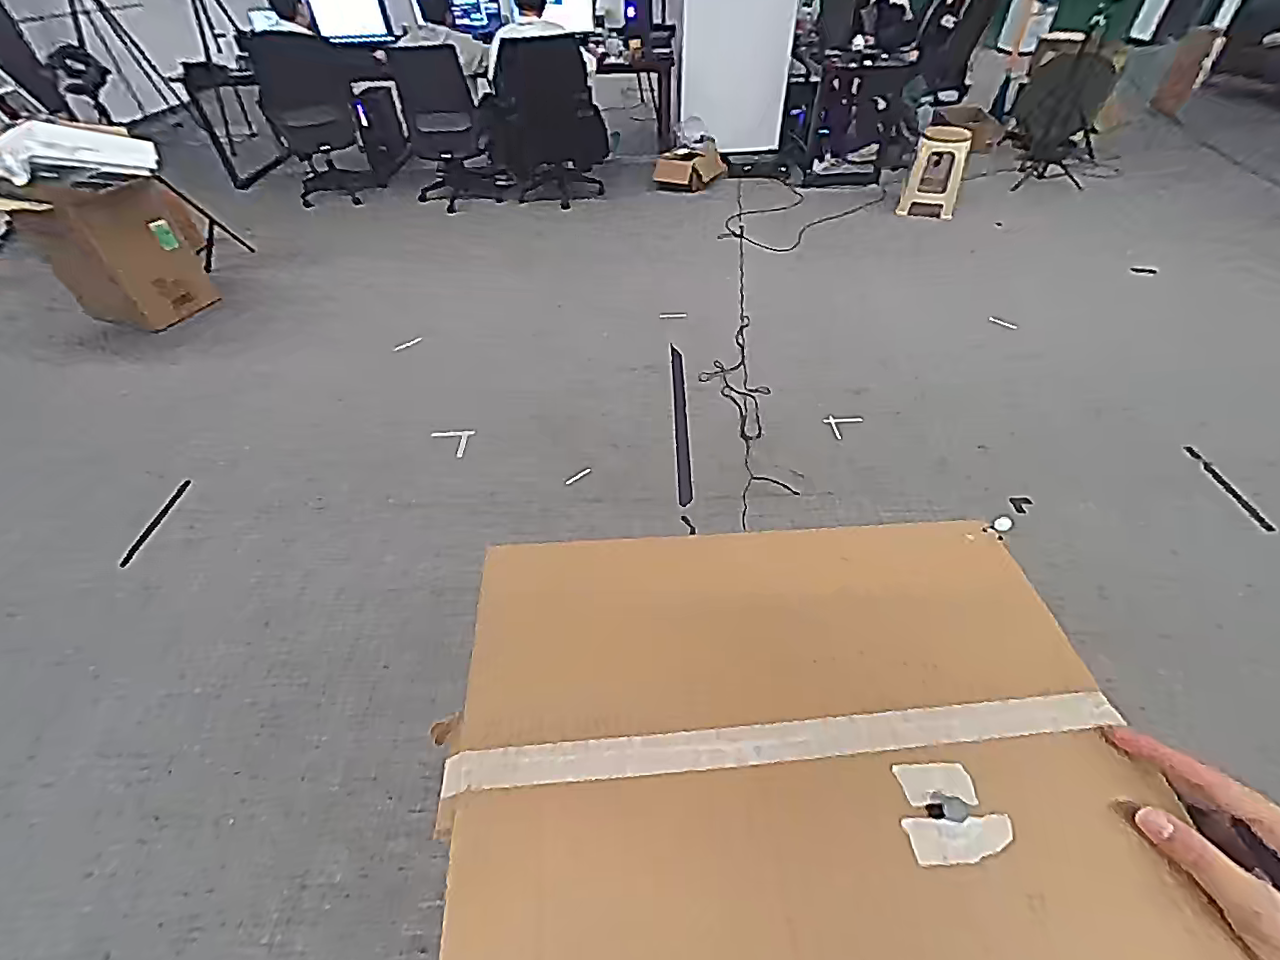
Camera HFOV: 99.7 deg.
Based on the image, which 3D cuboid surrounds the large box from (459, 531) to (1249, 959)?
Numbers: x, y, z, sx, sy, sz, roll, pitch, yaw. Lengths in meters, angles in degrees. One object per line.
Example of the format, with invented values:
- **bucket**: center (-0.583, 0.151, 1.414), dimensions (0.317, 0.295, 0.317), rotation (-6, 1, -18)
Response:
- **large box**: center (0.091, 0.266, 0.444), dimensions (0.408, 0.320, 0.320), rotation (-3, 48, -6)
